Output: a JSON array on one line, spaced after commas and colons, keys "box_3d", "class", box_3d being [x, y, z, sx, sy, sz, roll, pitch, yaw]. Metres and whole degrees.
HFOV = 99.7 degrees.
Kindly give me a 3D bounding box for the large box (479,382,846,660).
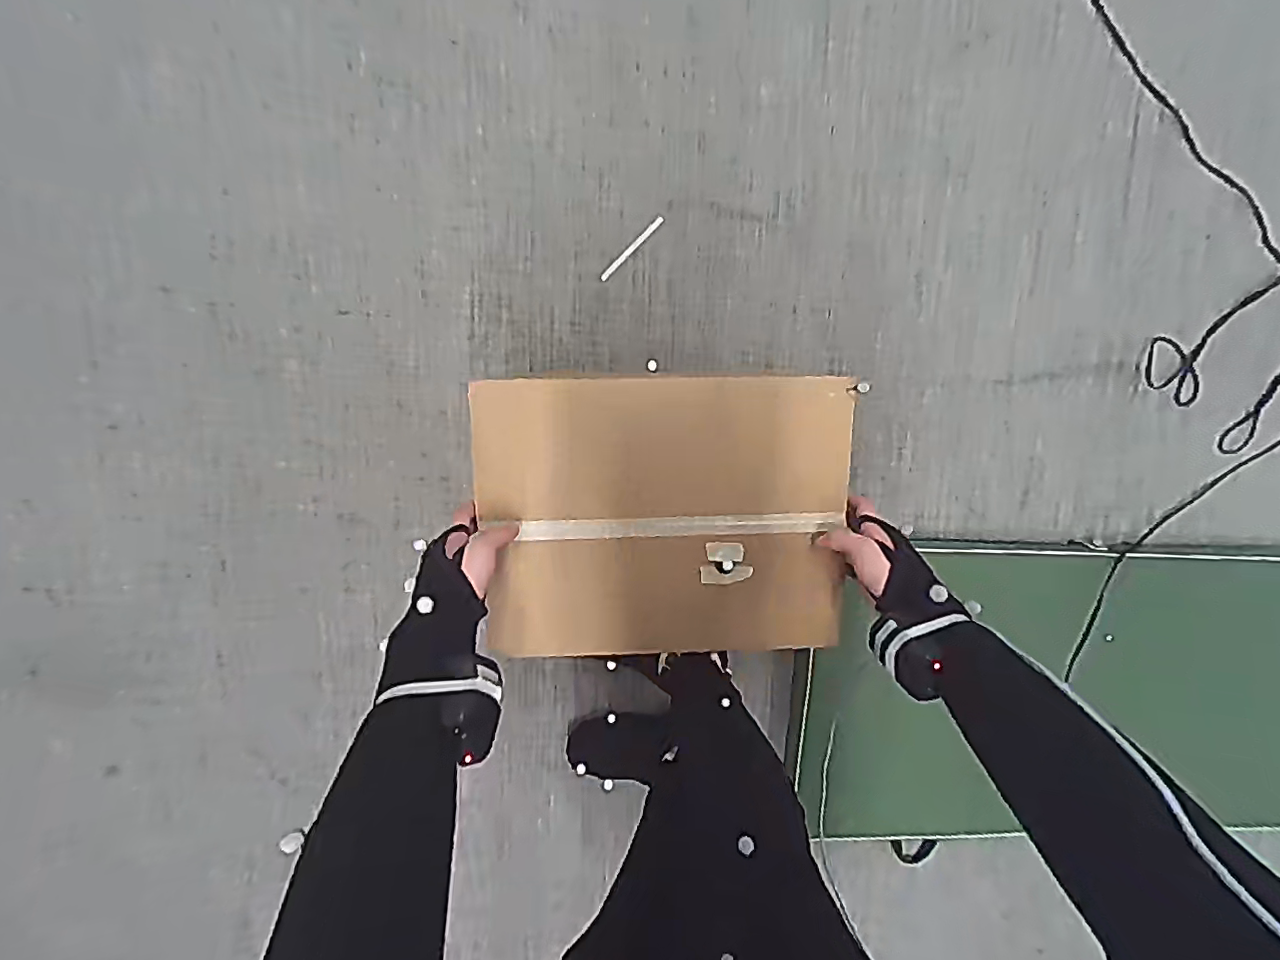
[{"box_3d": [0.020, 0.025, 0.752, 0.408, 0.320, 0.320, -1, 102, -3], "class": "large box"}]
